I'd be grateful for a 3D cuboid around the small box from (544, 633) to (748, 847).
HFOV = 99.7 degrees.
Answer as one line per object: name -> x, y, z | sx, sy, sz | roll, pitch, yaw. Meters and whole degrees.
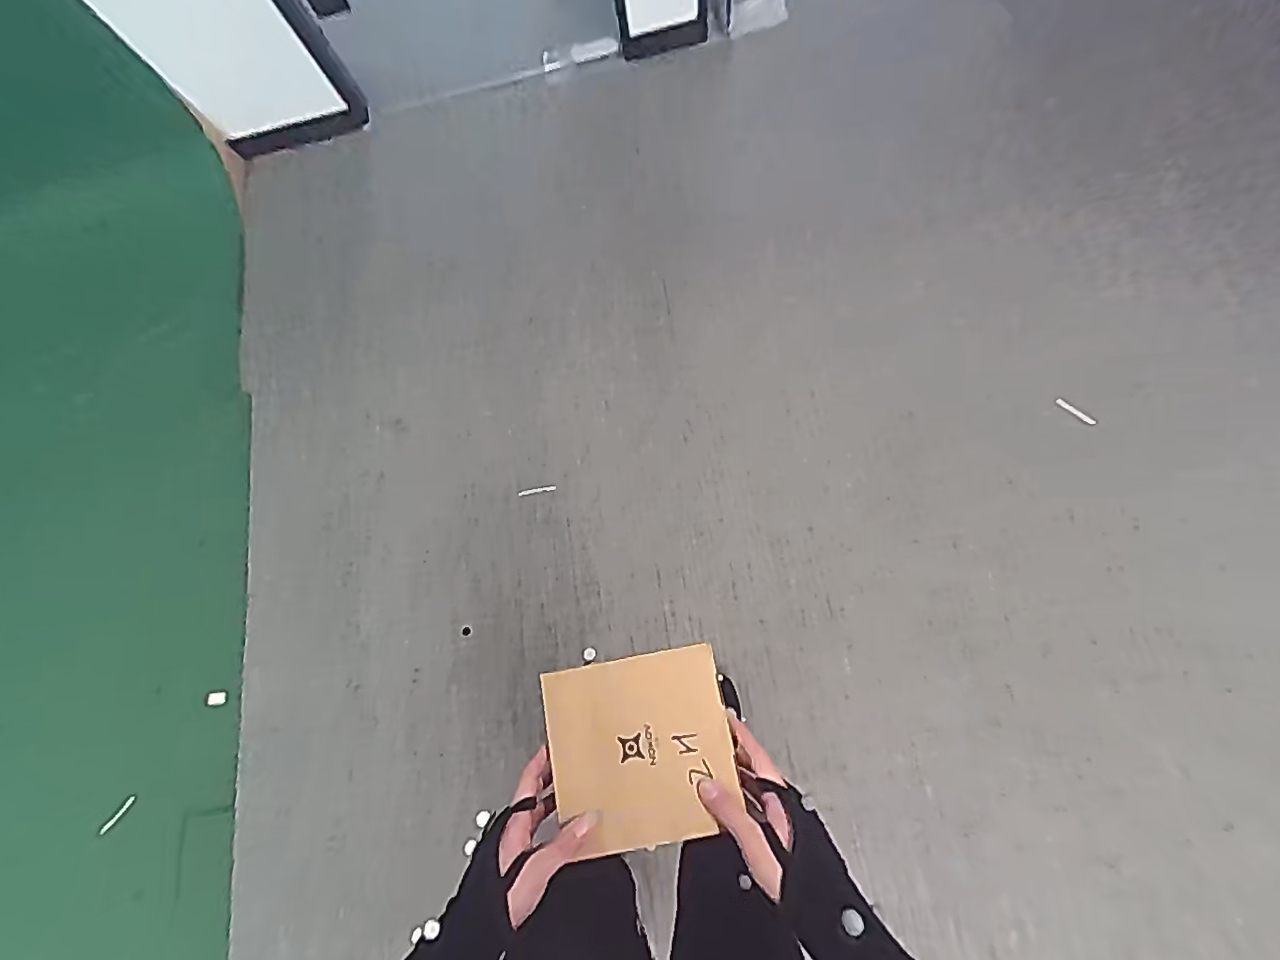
small box -> 0.007, 0.268, 0.590 | 0.179, 0.176, 0.168 | -11, 72, 0
